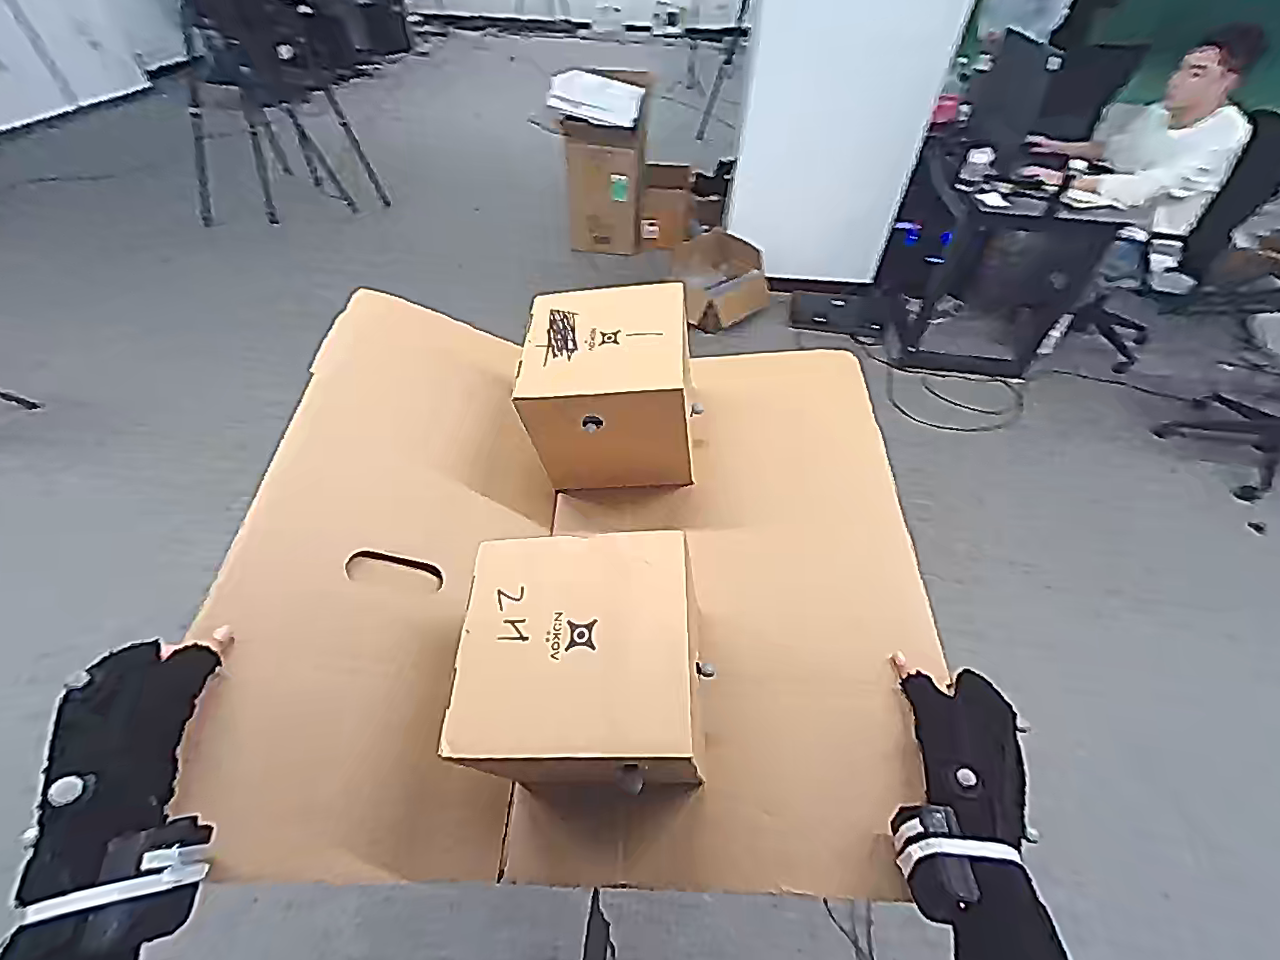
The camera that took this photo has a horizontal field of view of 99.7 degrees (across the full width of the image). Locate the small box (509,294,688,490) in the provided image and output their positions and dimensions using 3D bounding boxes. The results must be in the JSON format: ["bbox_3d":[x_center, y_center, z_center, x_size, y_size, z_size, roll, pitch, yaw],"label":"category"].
[{"bbox_3d":[-0.036,-0.098,0.653,0.179,0.176,0.168,-2,56,7],"label":"small box"}]

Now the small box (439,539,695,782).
[{"bbox_3d":[-0.042,0.164,0.476,0.179,0.176,0.168,-4,56,8],"label":"small box"}]
